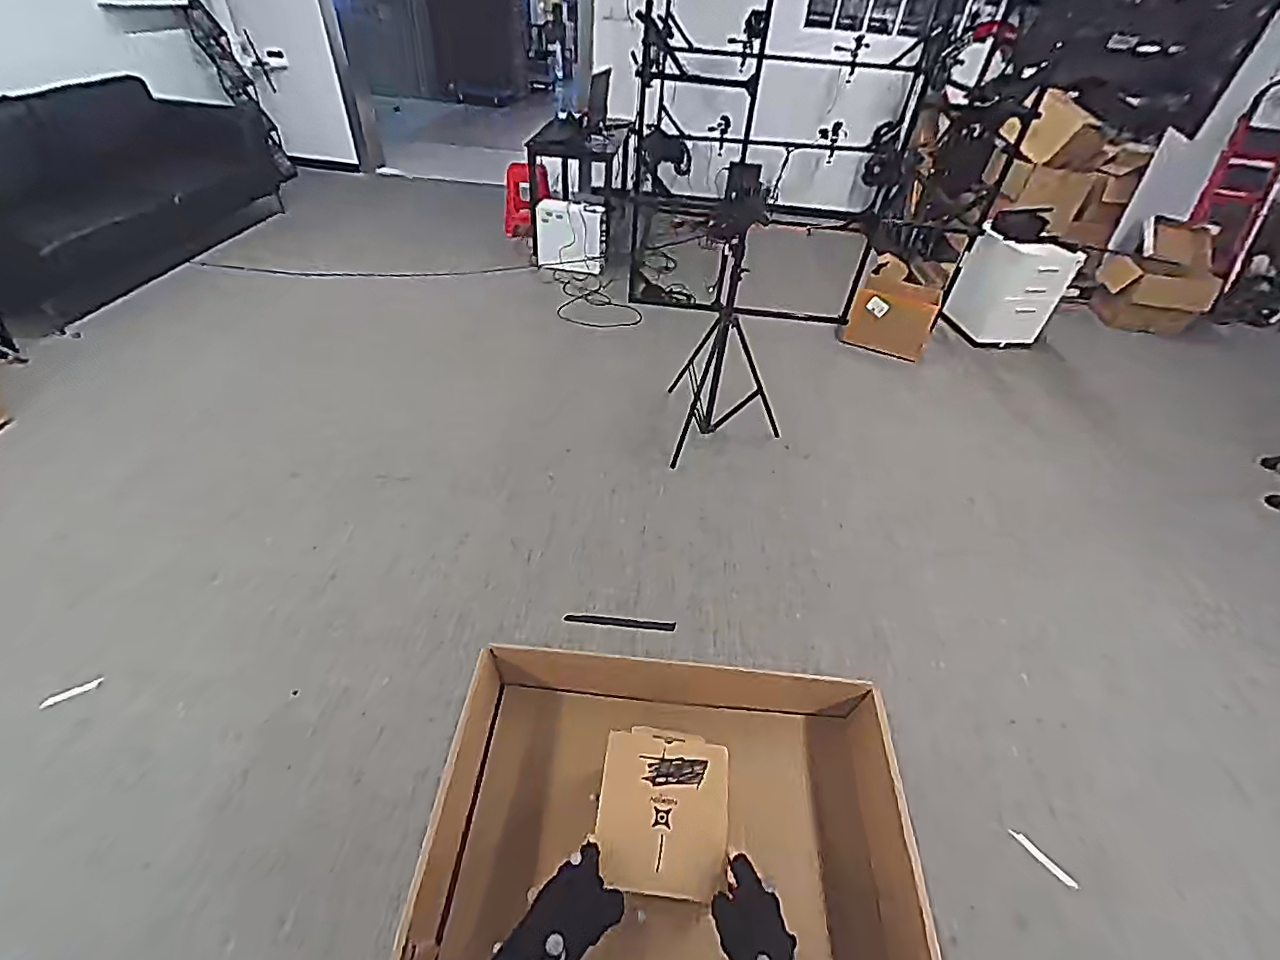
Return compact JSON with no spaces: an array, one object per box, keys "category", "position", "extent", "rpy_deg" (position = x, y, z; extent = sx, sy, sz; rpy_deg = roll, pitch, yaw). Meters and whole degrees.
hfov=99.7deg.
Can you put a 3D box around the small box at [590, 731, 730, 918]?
[{"category":"small box","position":[0.025,0.469,0.735],"extent":[0.168,0.176,0.179],"rpy_deg":[7,48,1]}]
